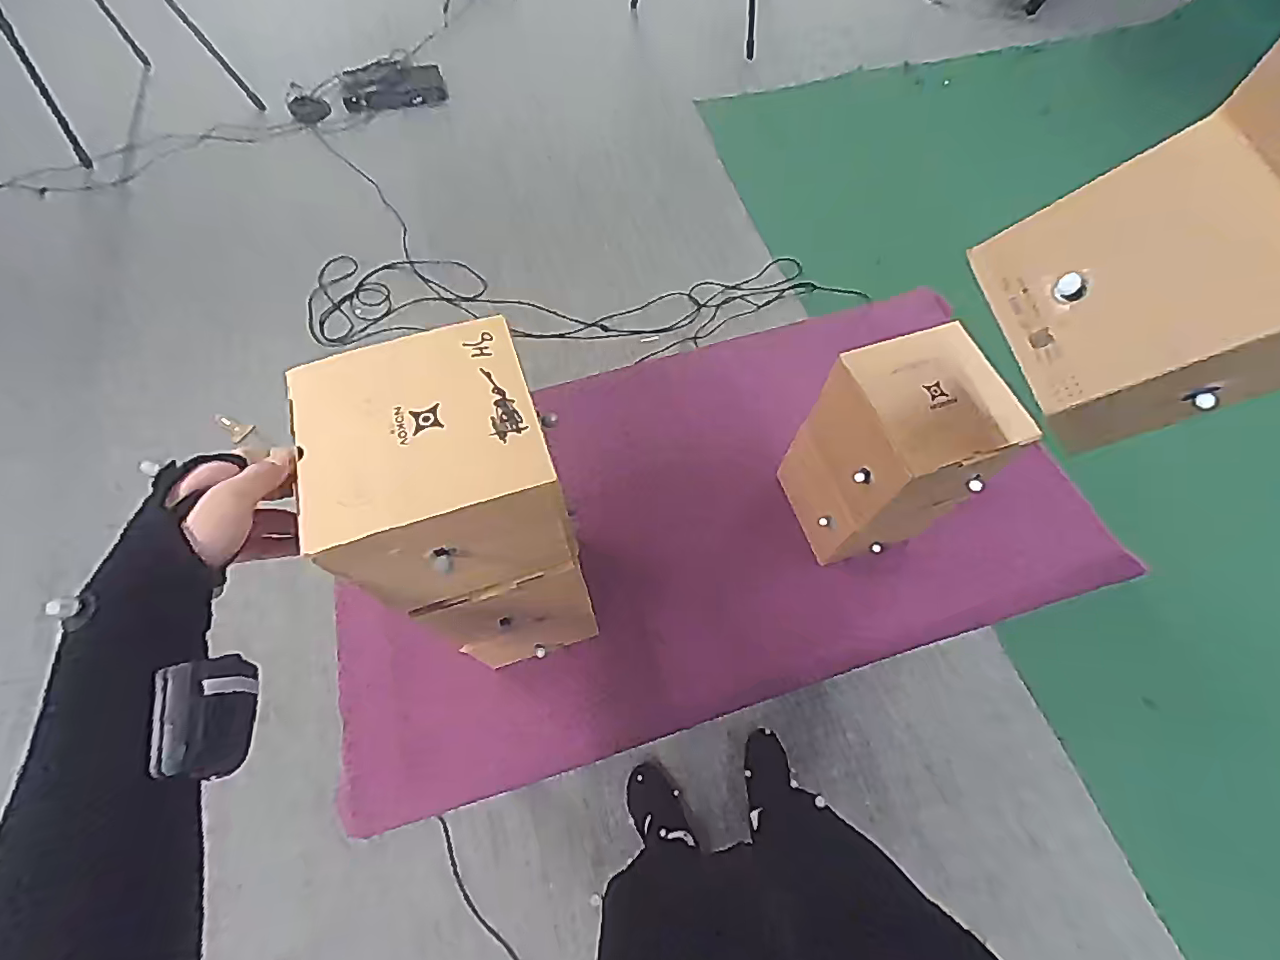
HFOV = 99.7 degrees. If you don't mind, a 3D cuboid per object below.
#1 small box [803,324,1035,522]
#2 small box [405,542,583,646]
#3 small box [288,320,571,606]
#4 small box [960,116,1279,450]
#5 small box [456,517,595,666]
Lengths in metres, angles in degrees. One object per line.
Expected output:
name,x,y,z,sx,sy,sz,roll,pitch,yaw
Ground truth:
small box,0.333,-0.061,0.688,0.168,0.176,0.179,-16,64,-7
small box,-0.171,0.073,0.632,0.168,0.176,0.179,-17,65,-8
small box,-0.173,-0.005,0.479,0.179,0.176,0.168,-17,64,-8
small box,0.401,-0.140,0.458,0.176,0.179,0.168,-28,63,37
small box,-0.169,0.148,0.776,0.168,0.176,0.179,-17,64,-7
